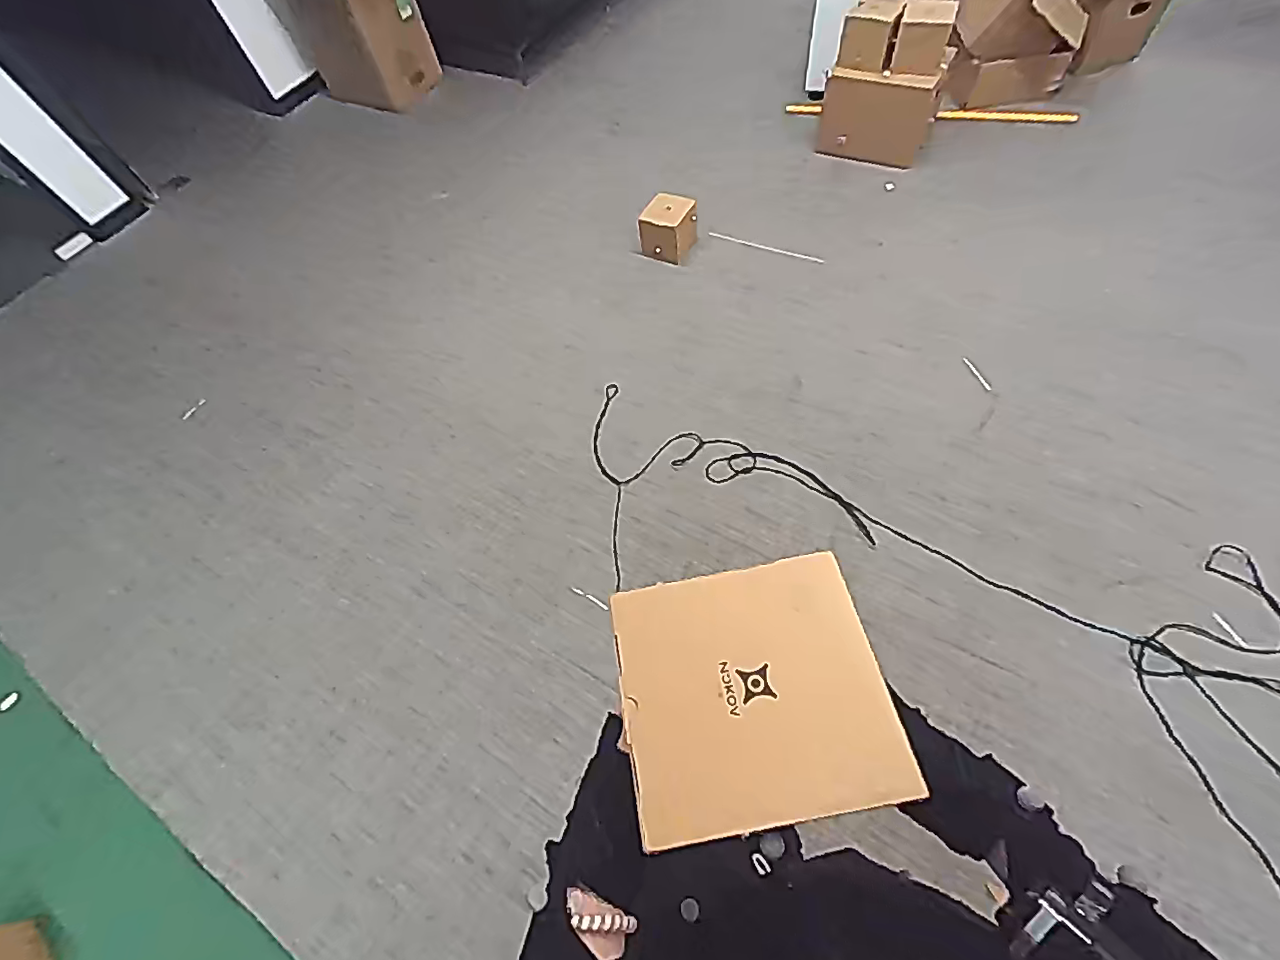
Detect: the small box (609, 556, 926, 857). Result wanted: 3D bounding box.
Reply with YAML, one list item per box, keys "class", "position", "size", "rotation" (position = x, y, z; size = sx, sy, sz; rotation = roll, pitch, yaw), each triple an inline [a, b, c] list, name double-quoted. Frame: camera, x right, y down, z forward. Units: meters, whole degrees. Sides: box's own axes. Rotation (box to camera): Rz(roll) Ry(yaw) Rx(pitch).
- class: "small box"
  position: [0.082, 0.180, 0.428]
  size: [0.179, 0.176, 0.168]
  rotation: [-12, 58, 1]

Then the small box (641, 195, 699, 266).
- class: "small box"
  position: [0.123, -0.979, 2.125]
  size: [0.168, 0.176, 0.179]
  rotation: [23, 66, 20]
